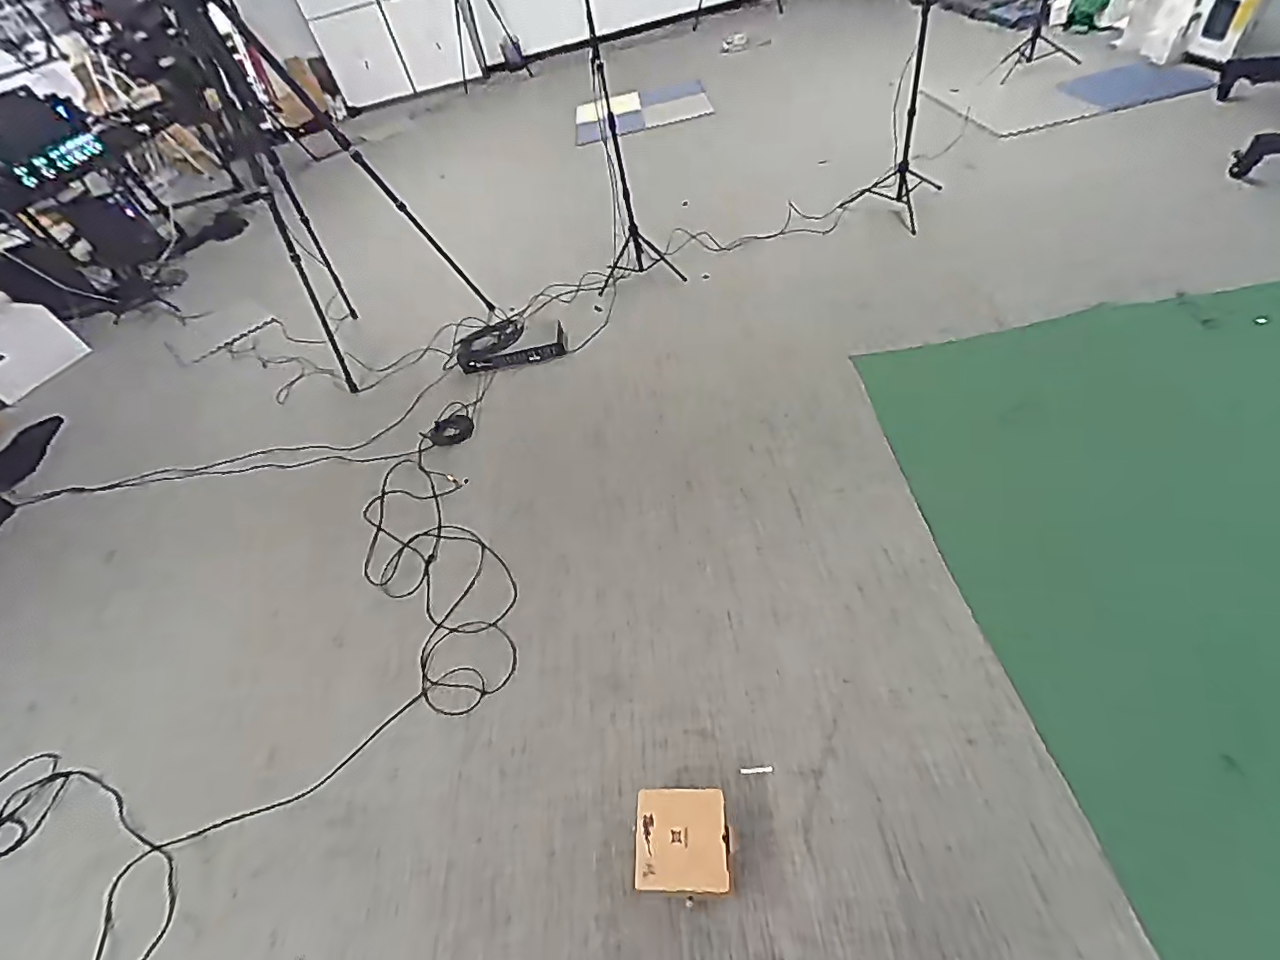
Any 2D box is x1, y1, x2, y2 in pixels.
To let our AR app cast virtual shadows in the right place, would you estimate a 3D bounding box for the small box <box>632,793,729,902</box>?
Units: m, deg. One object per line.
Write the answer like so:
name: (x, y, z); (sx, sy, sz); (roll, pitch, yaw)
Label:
small box: (0.087, 0.742, 1.090); (0.179, 0.176, 0.168); (-6, 49, 9)
